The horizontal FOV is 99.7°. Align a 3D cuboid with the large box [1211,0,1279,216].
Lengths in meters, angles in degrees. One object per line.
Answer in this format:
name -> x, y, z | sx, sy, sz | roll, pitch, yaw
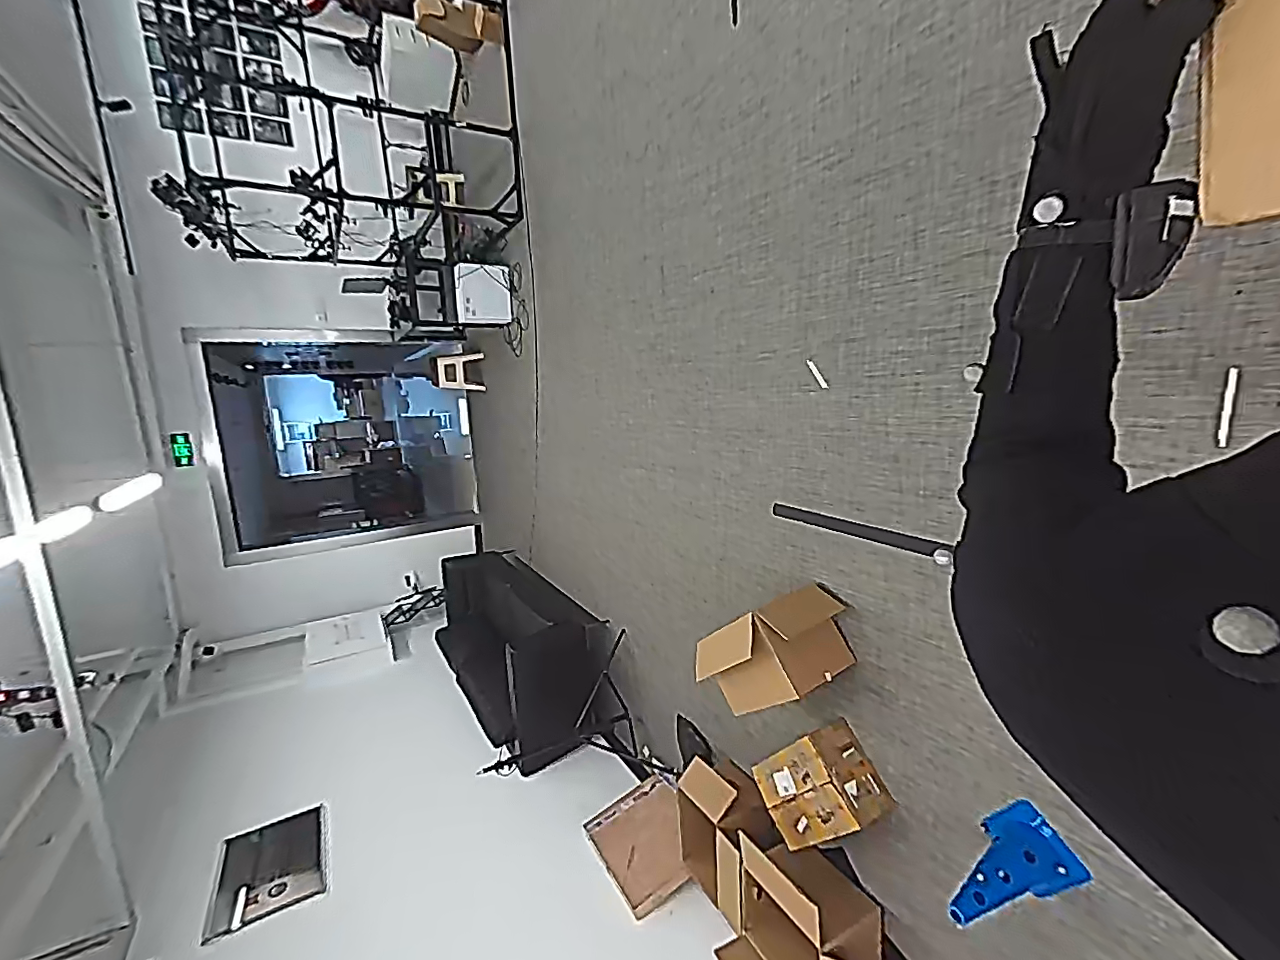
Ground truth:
large box -> 0.537, -0.330, 0.202 | 0.408, 0.320, 0.320 | 7, 112, 58
